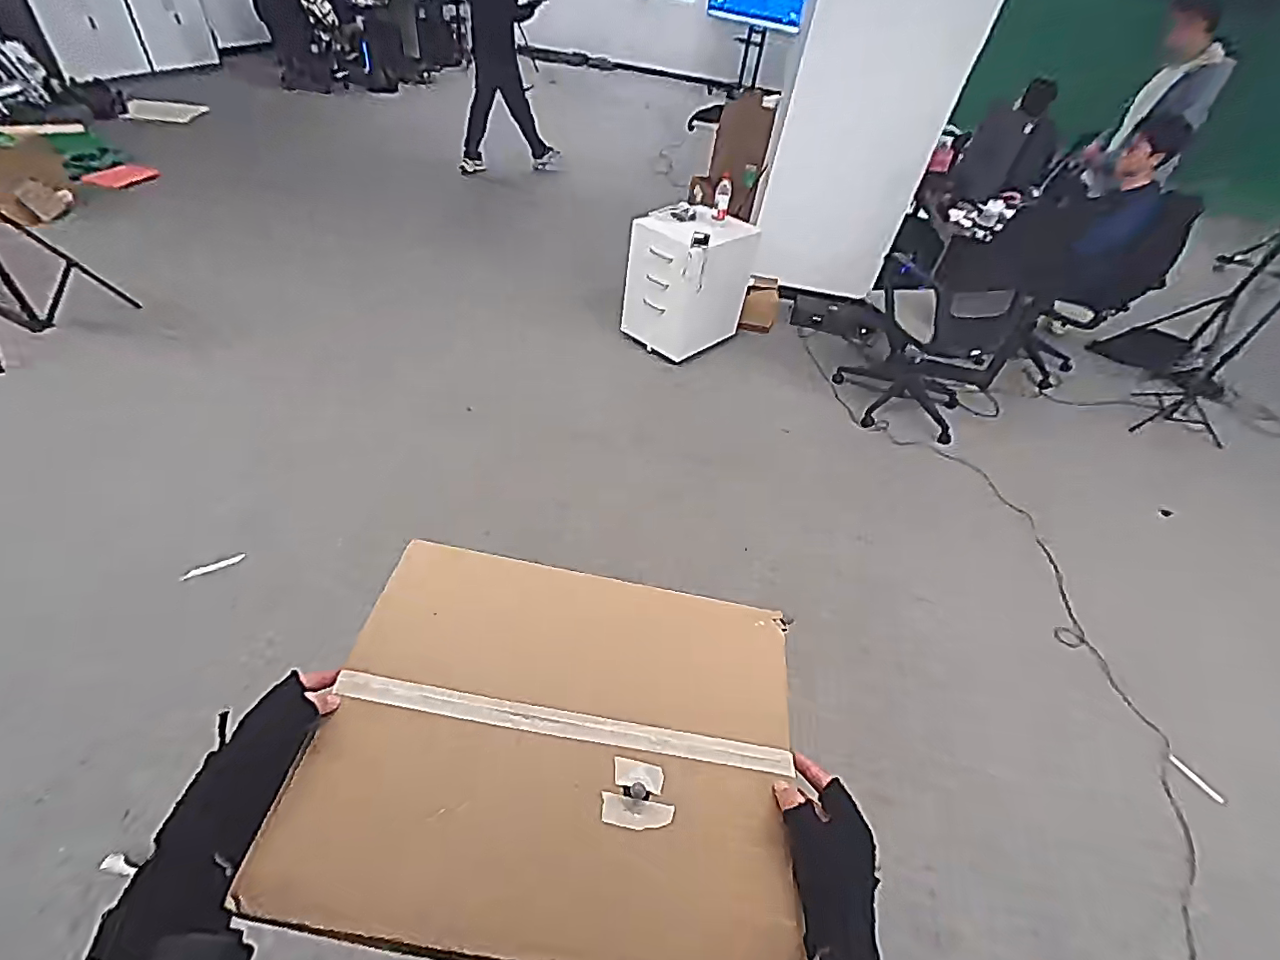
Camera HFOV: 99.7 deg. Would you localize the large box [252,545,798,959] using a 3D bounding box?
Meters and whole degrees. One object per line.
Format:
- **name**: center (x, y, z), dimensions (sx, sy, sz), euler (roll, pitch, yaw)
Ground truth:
- **large box**: center (-0.088, 0.316, 0.592), dimensions (0.408, 0.320, 0.320), euler (13, 47, -3)
